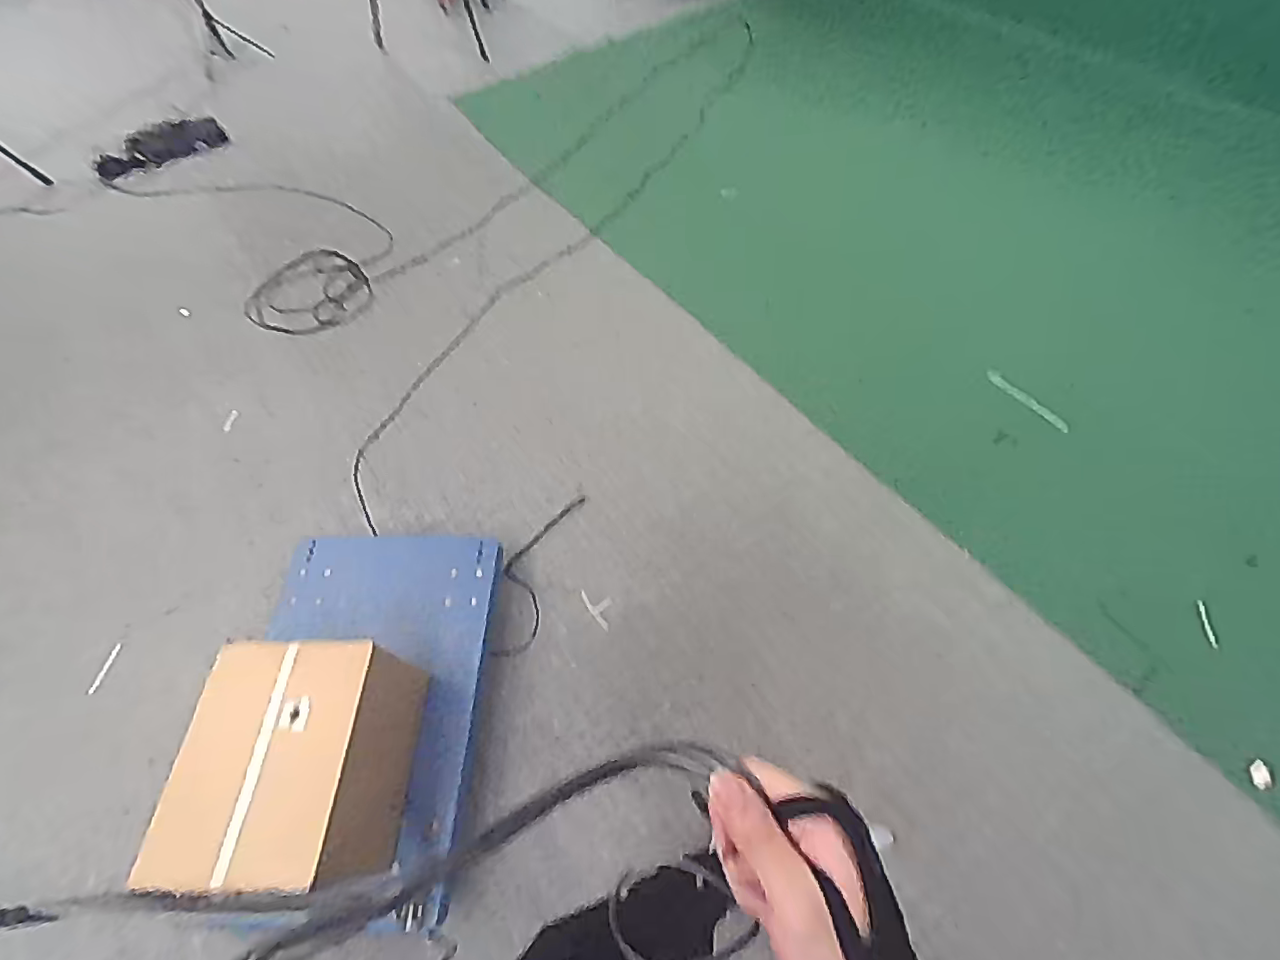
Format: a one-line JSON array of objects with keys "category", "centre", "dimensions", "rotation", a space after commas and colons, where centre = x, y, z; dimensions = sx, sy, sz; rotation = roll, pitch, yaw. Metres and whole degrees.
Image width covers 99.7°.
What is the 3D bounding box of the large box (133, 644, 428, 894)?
[{"category": "large box", "centre": [-0.671, 0.579, 1.102], "dimensions": [0.320, 0.320, 0.408], "rotation": [-1, 58, 1]}]
